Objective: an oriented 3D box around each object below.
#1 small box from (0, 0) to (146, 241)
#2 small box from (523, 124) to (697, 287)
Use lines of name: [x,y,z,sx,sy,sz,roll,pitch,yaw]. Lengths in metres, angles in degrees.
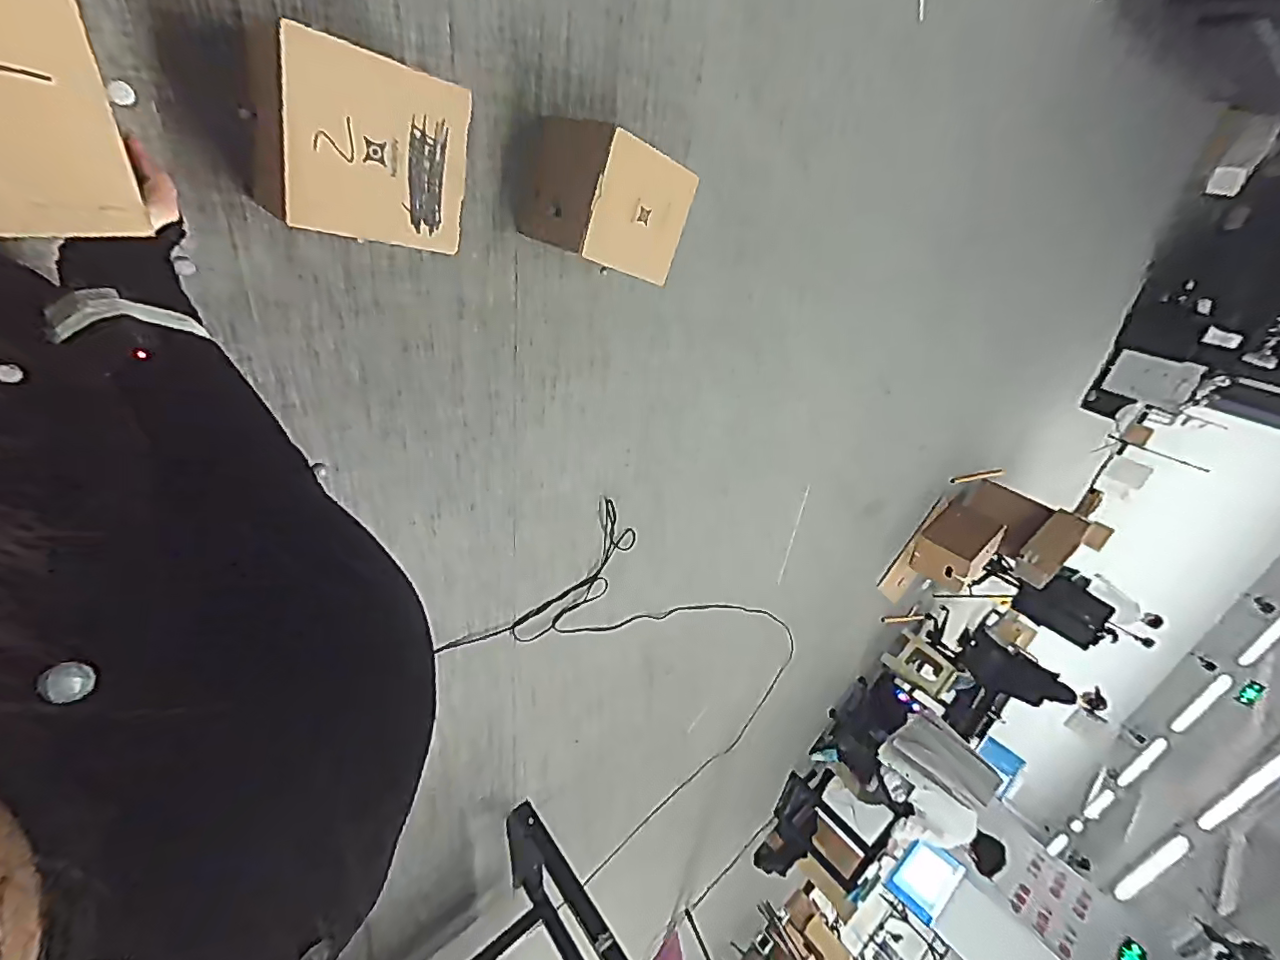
small box: [-0.421,-0.237,0.304,0.179,0.176,0.168,-19,131,-36]
small box: [-0.051,-0.414,0.820,0.179,0.176,0.168,-1,118,-46]
